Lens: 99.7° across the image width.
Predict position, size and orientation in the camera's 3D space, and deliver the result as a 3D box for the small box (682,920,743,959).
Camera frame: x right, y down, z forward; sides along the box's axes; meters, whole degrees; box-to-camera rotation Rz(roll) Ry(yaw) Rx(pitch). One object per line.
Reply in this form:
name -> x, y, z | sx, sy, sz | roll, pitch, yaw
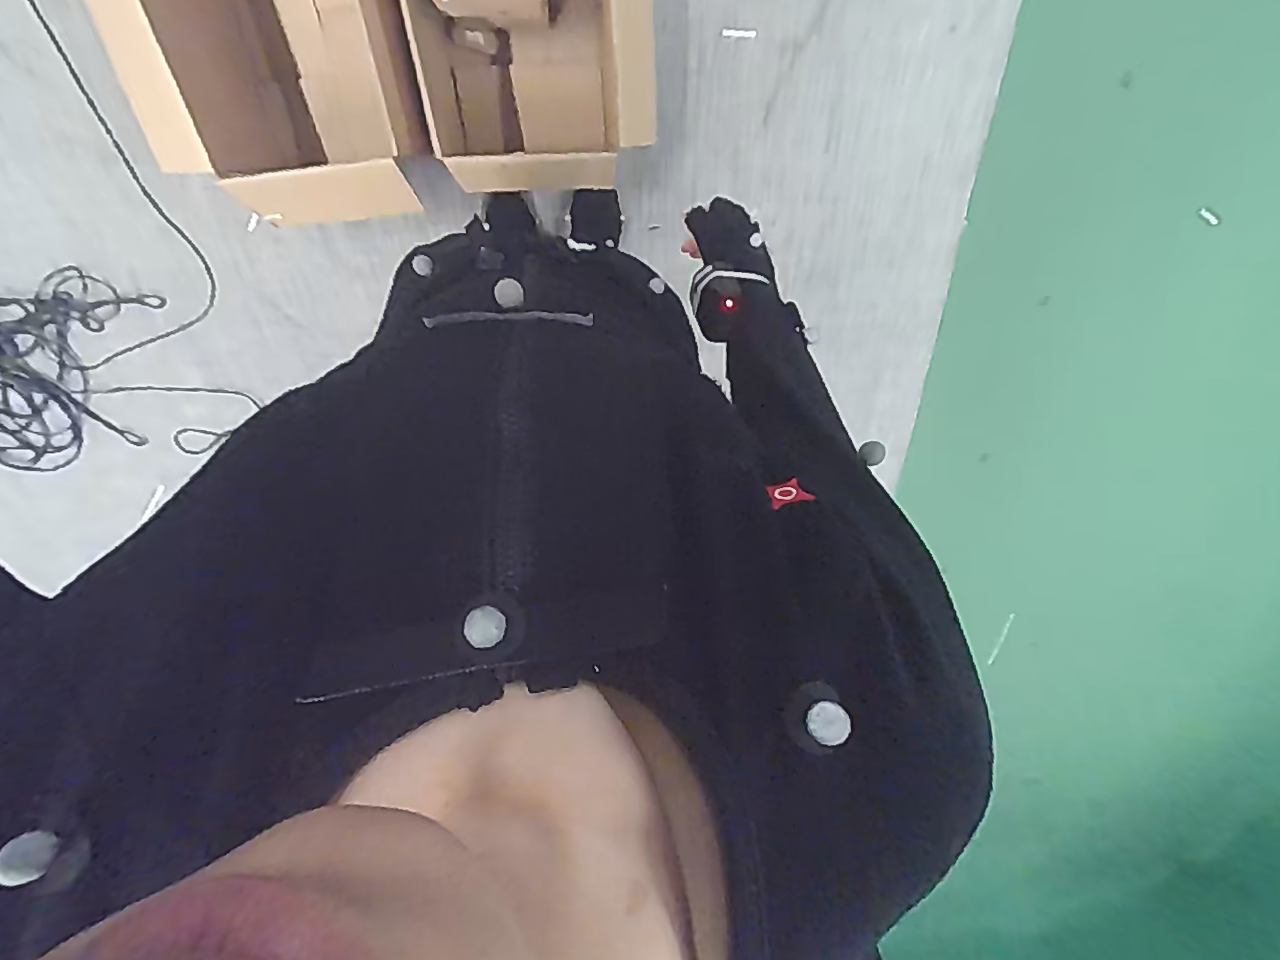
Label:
small box -> 0.224, 1.478, 1.645 | 0.168, 0.176, 0.179 | -6, 122, -5
